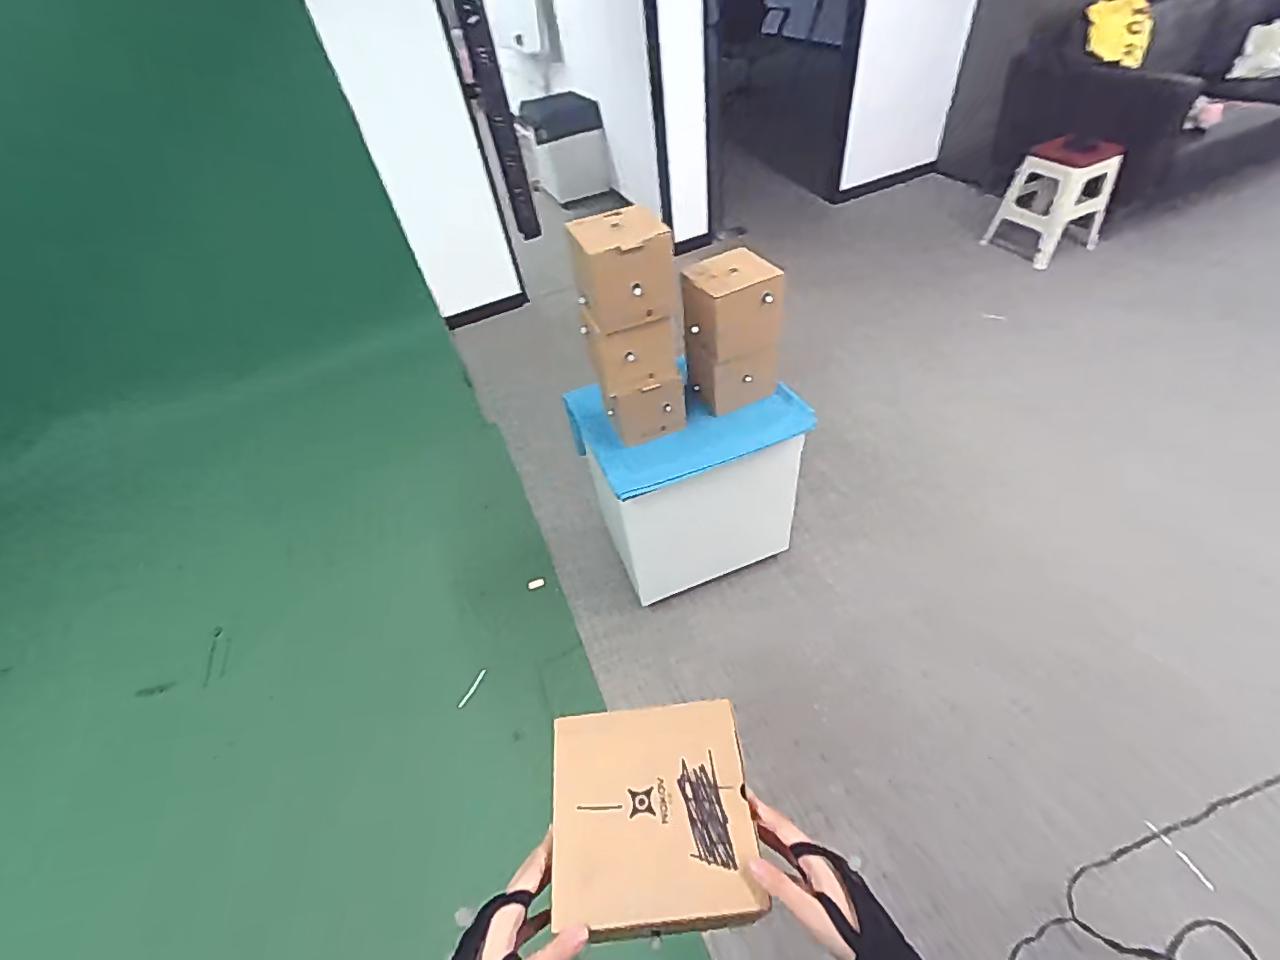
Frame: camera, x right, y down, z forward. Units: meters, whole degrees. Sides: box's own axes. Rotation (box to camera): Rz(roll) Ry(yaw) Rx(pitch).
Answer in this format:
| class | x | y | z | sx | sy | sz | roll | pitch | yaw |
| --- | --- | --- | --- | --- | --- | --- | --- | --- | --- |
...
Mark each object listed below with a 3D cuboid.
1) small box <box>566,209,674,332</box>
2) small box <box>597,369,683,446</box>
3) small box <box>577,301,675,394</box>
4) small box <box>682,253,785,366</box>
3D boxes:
| class | x | y | z | sx | sy | sz | roll | pitch | yaw |
| --- | --- | --- | --- | --- | --- | --- | --- | --- | --- |
| small box | -0.036 | -0.419 | 1.096 | 0.168 | 0.176 | 0.179 | -18 | 46 | -10 |
| small box | 0.001 | -0.203 | 1.337 | 0.168 | 0.176 | 0.179 | -19 | 46 | -11 |
| small box | -0.028 | -0.311 | 1.219 | 0.168 | 0.176 | 0.179 | -18 | 45 | -10 |
| small box | 0.212 | -0.395 | 1.255 | 0.179 | 0.176 | 0.168 | -23 | 47 | -11 |
